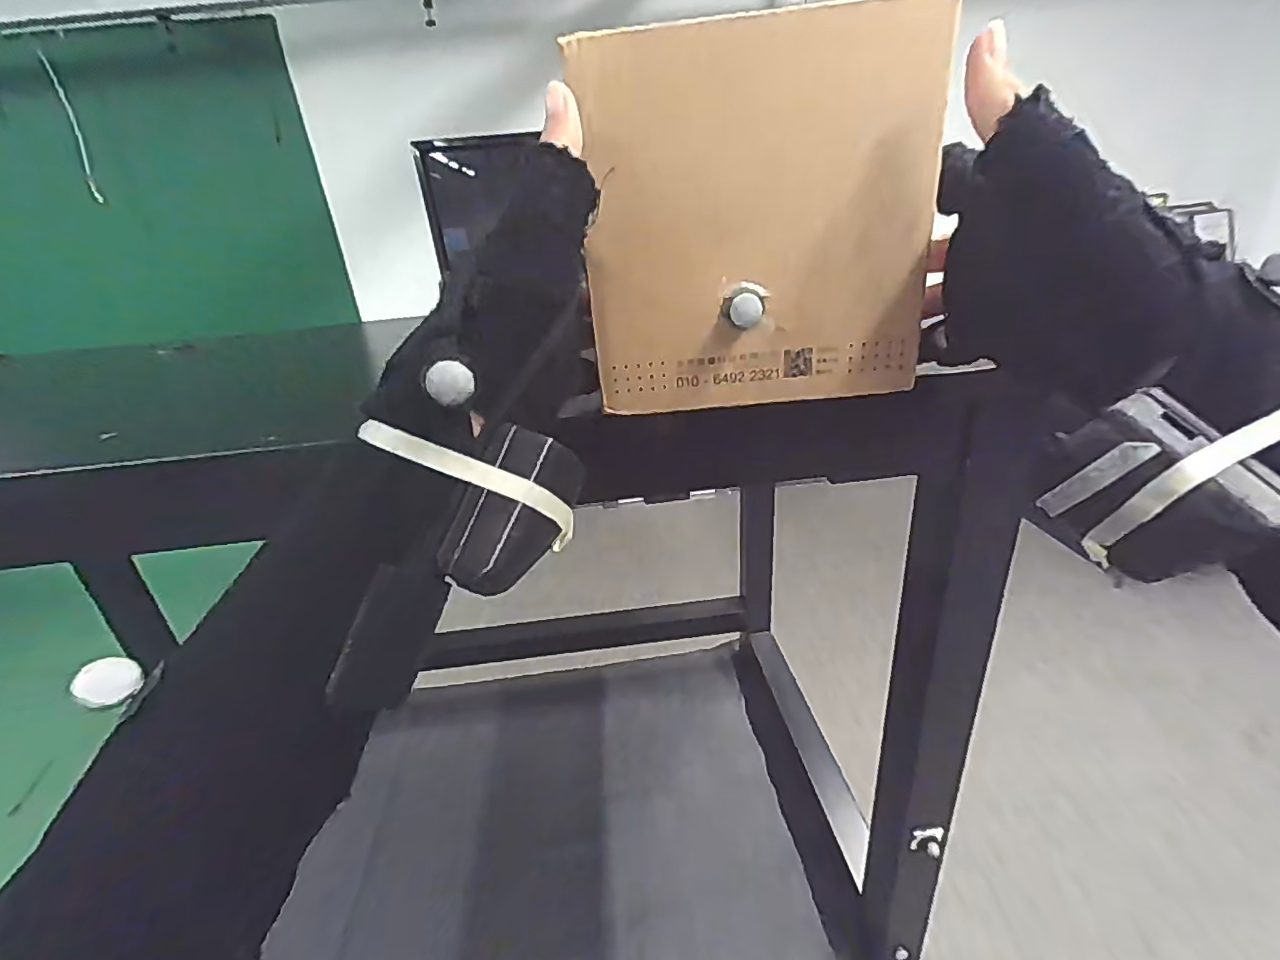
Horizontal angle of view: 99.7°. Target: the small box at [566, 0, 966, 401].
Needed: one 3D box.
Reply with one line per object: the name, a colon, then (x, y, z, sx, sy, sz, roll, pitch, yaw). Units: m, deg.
small box: (0.059, -0.153, 0.326, 0.168, 0.176, 0.179, -4, 25, 4)
